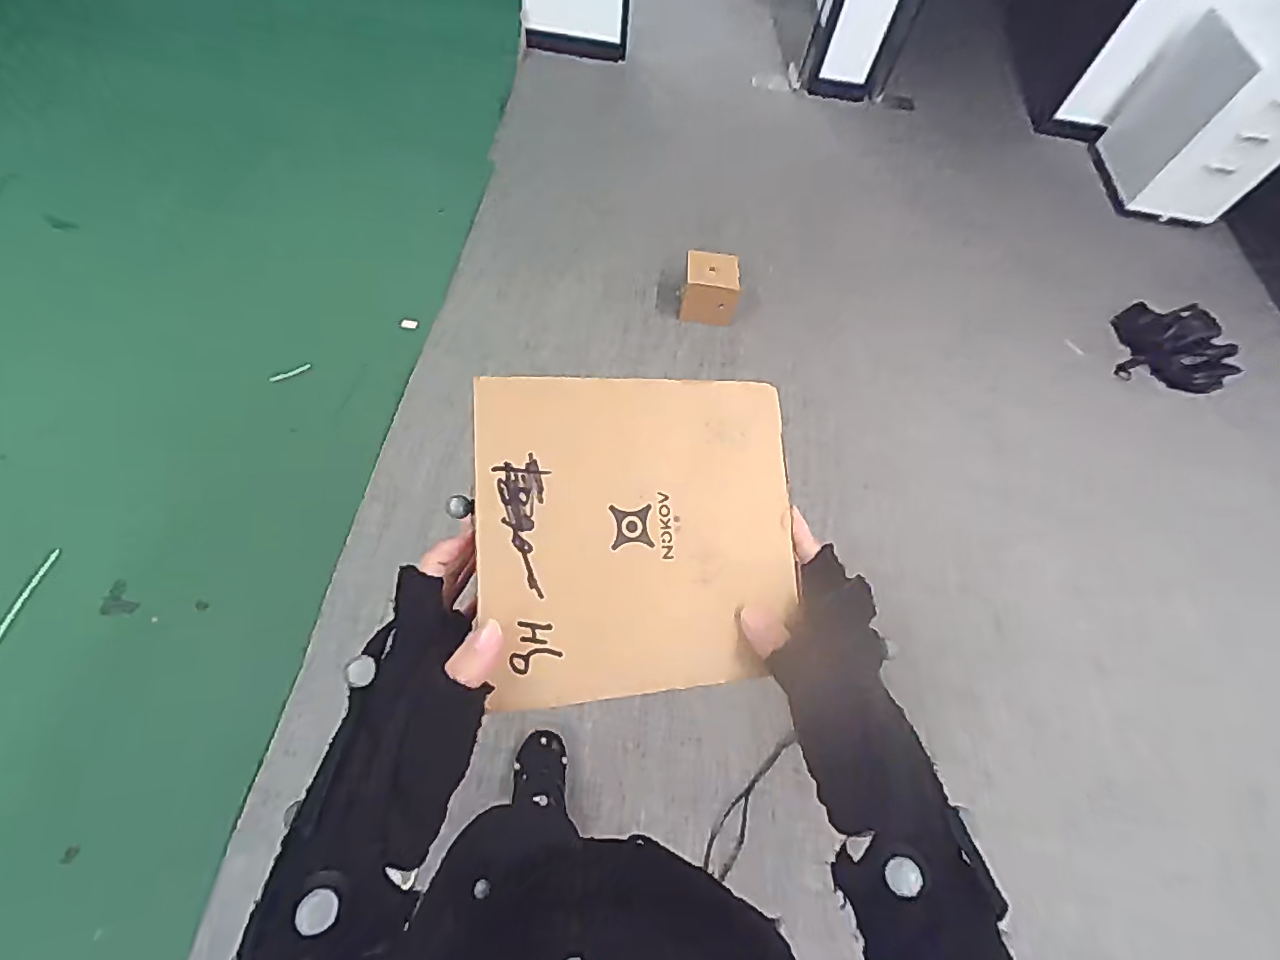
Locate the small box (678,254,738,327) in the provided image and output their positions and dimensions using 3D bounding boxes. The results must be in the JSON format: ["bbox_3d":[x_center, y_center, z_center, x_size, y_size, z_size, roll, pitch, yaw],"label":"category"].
[{"bbox_3d":[0.232,-0.649,1.865,0.179,0.176,0.168,4,60,-2],"label":"small box"}]

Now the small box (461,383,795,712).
[{"bbox_3d":[-0.024,0.039,0.367,0.179,0.176,0.168,-4,81,-15],"label":"small box"}]
